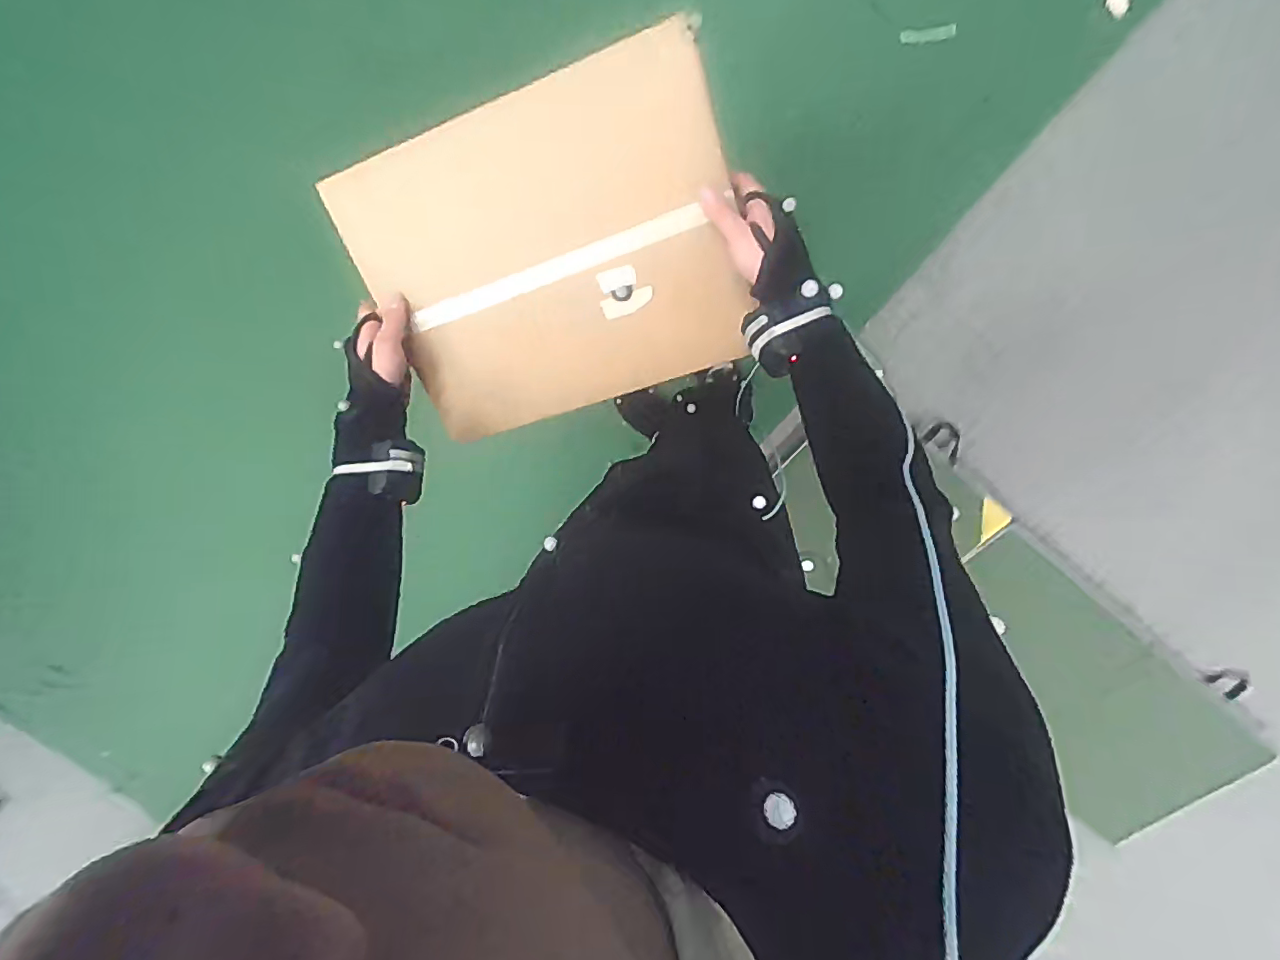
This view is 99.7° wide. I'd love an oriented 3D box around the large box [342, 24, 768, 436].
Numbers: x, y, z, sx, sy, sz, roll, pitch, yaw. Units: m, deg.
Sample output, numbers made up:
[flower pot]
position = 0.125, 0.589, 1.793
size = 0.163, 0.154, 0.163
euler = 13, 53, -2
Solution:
[large box]
position = -0.079, -0.303, 0.729
size = 0.408, 0.320, 0.320
euler = -15, 115, 11
